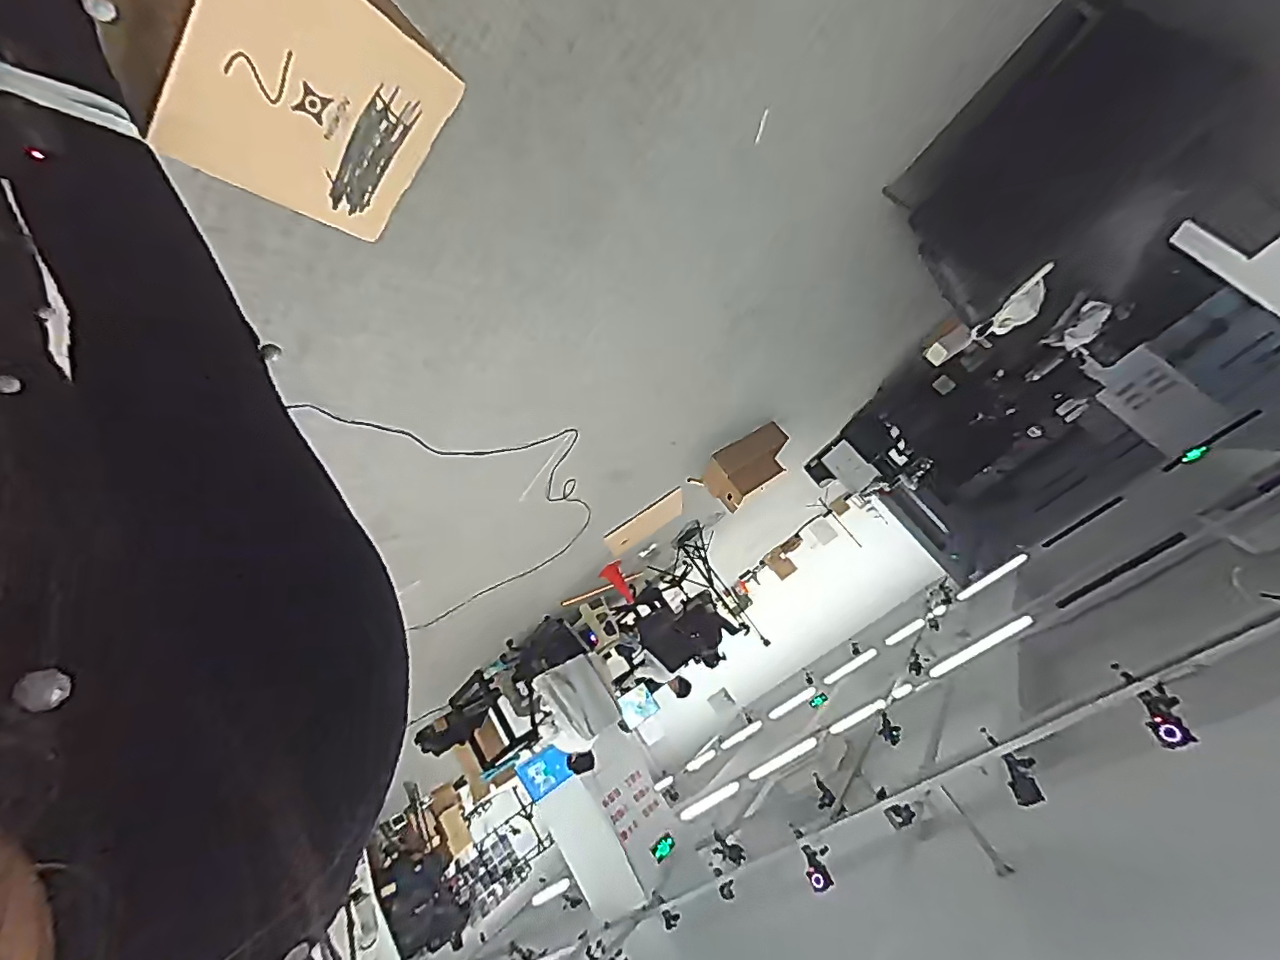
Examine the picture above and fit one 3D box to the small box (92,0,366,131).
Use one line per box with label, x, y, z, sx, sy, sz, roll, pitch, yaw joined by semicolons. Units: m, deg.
small box;-0.376;-0.472;0.479;0.179;0.176;0.168;-48;159;22
